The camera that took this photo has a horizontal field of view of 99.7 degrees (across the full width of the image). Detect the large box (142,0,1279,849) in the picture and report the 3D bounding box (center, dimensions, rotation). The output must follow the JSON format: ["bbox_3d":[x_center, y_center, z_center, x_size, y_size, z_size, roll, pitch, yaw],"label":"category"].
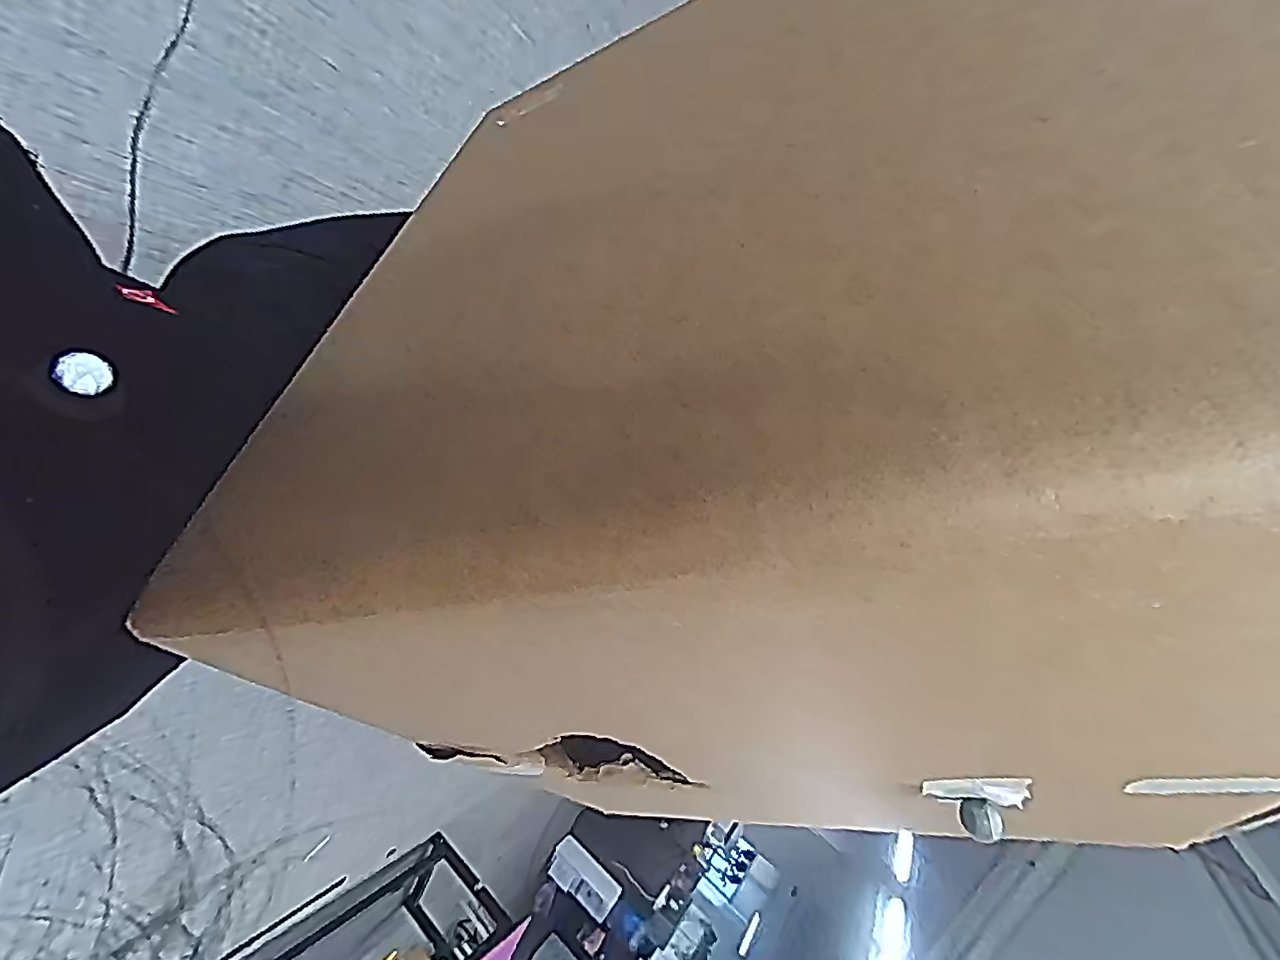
[{"bbox_3d":[0.065,-0.046,0.331,0.320,0.320,0.408,58,31,-44],"label":"large box"}]
